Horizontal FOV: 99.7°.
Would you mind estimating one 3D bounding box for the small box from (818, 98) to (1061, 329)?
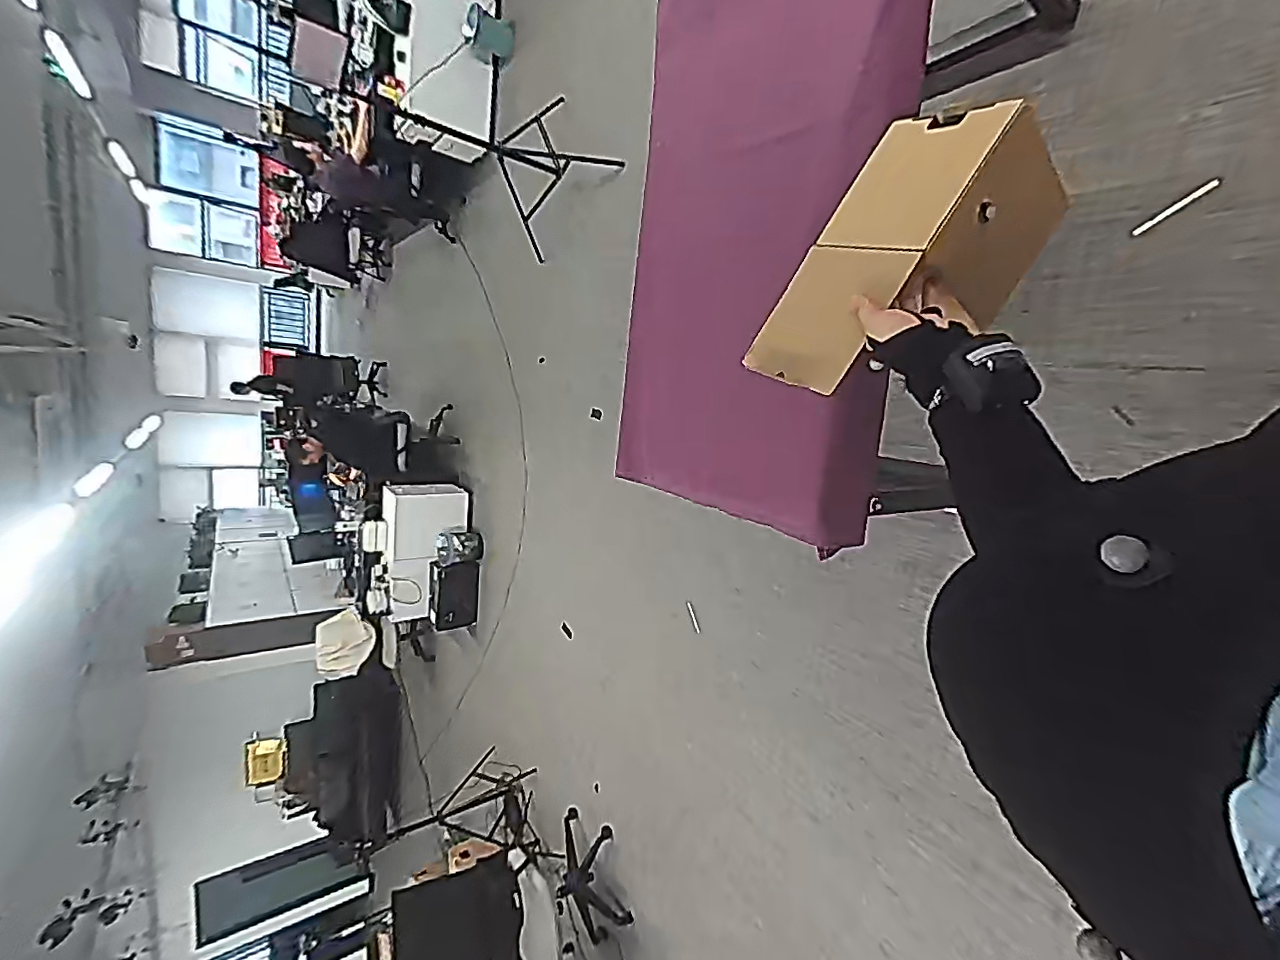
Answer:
[{"bbox_3d":[0.363,-0.309,0.659,0.179,0.176,0.168,-57,35,7],"label":"small box"}]
